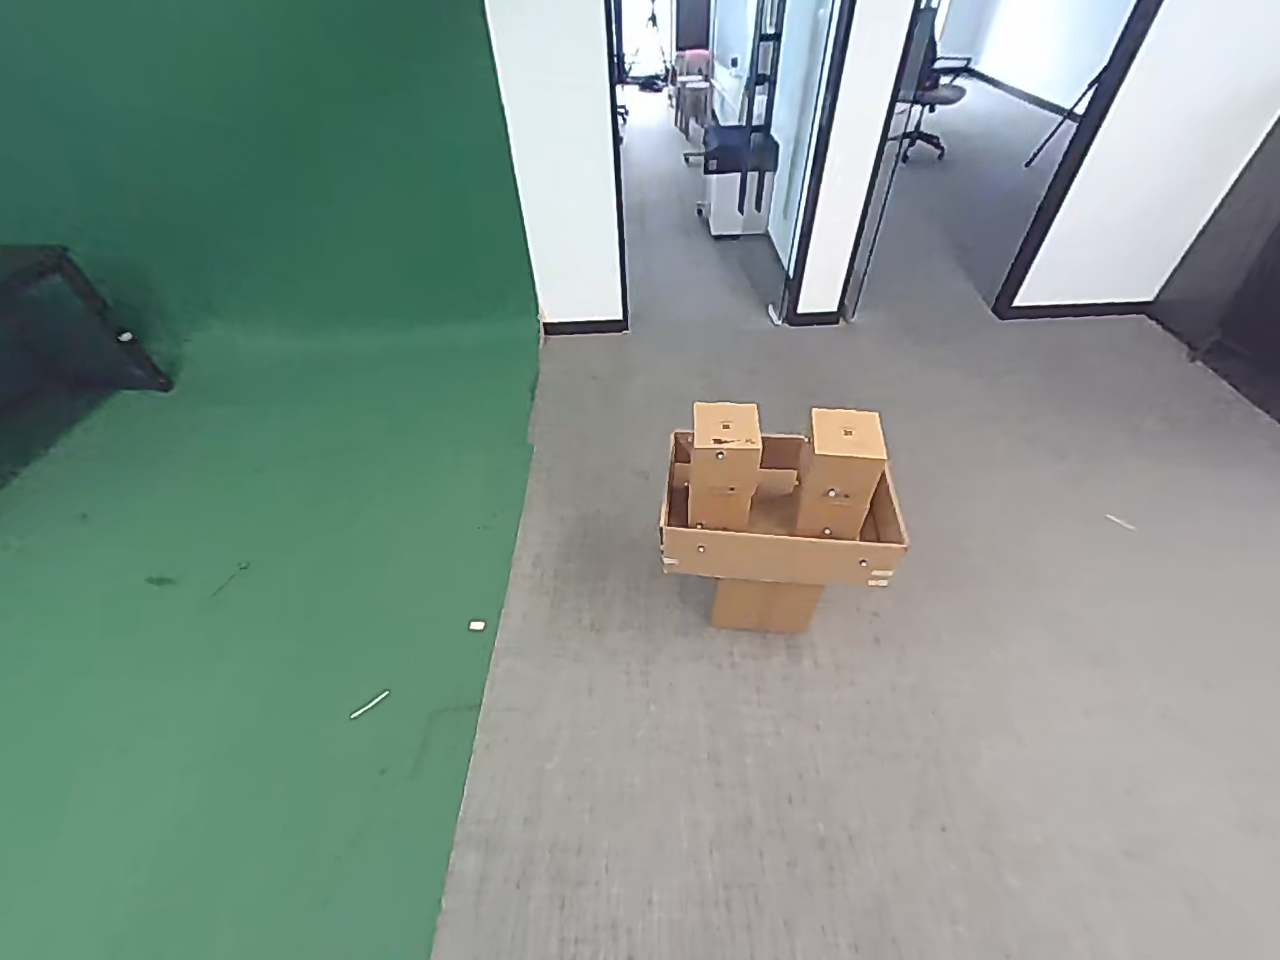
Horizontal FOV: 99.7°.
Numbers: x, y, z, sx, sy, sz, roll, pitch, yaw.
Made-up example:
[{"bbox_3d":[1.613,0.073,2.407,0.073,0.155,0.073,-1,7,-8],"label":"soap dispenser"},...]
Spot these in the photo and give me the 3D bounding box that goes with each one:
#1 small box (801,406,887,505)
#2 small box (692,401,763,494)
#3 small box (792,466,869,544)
[{"bbox_3d":[0.509,-0.063,1.375,0.168,0.176,0.179,6,47,8],"label":"small box"},{"bbox_3d":[0.220,-0.086,1.405,0.168,0.176,0.179,1,46,4],"label":"small box"},{"bbox_3d":[0.518,0.050,1.492,0.168,0.176,0.179,7,47,9],"label":"small box"}]
